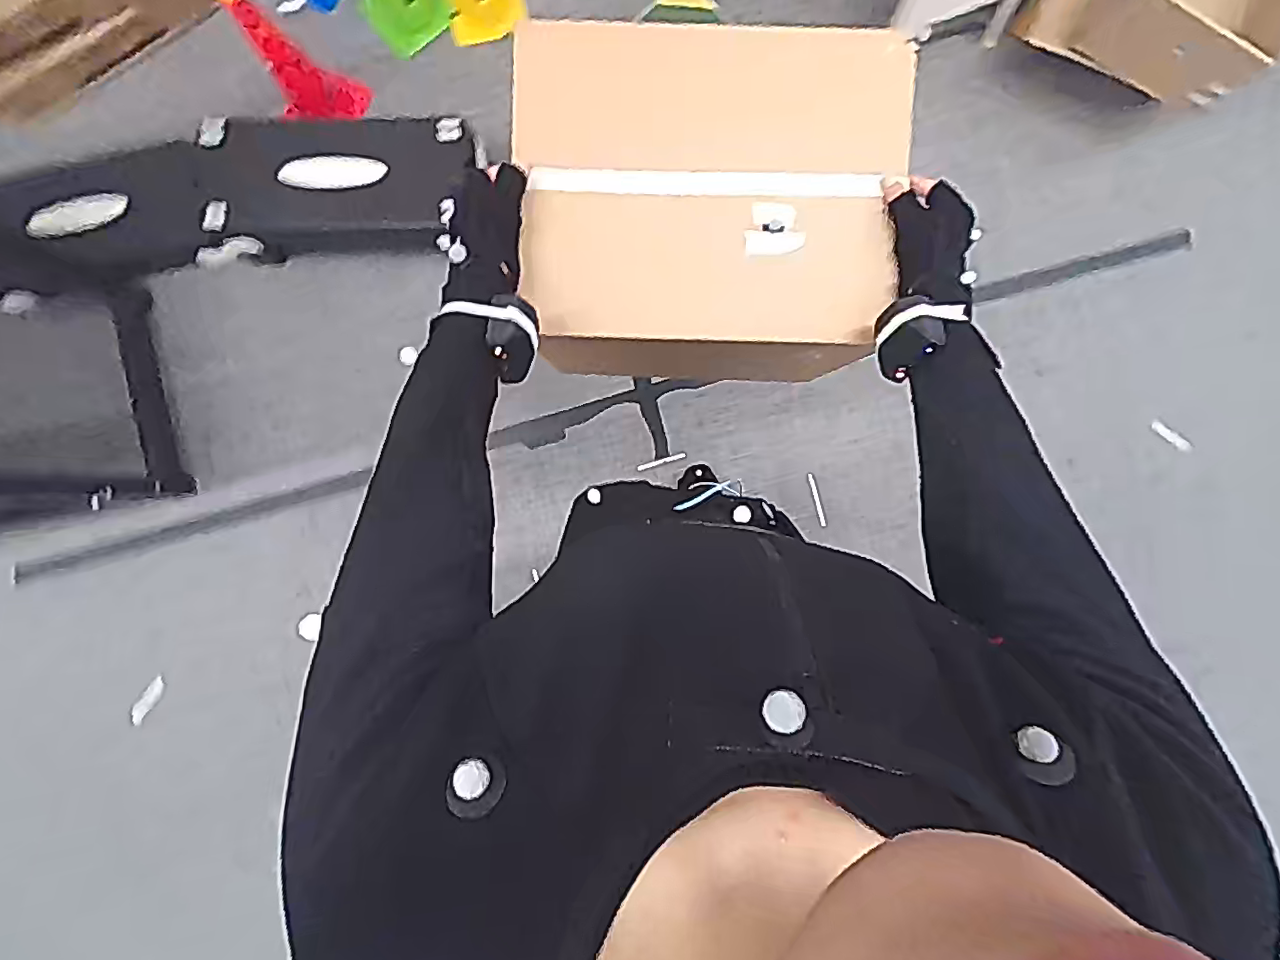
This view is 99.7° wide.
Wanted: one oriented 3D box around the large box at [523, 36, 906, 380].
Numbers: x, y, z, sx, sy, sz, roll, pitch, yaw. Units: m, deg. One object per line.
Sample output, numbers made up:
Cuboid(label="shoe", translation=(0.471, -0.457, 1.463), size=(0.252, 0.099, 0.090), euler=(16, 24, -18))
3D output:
Cuboid(label="large box", translation=(0.074, -0.310, 0.718), size=(0.408, 0.320, 0.320), euler=(2, 94, -1))
